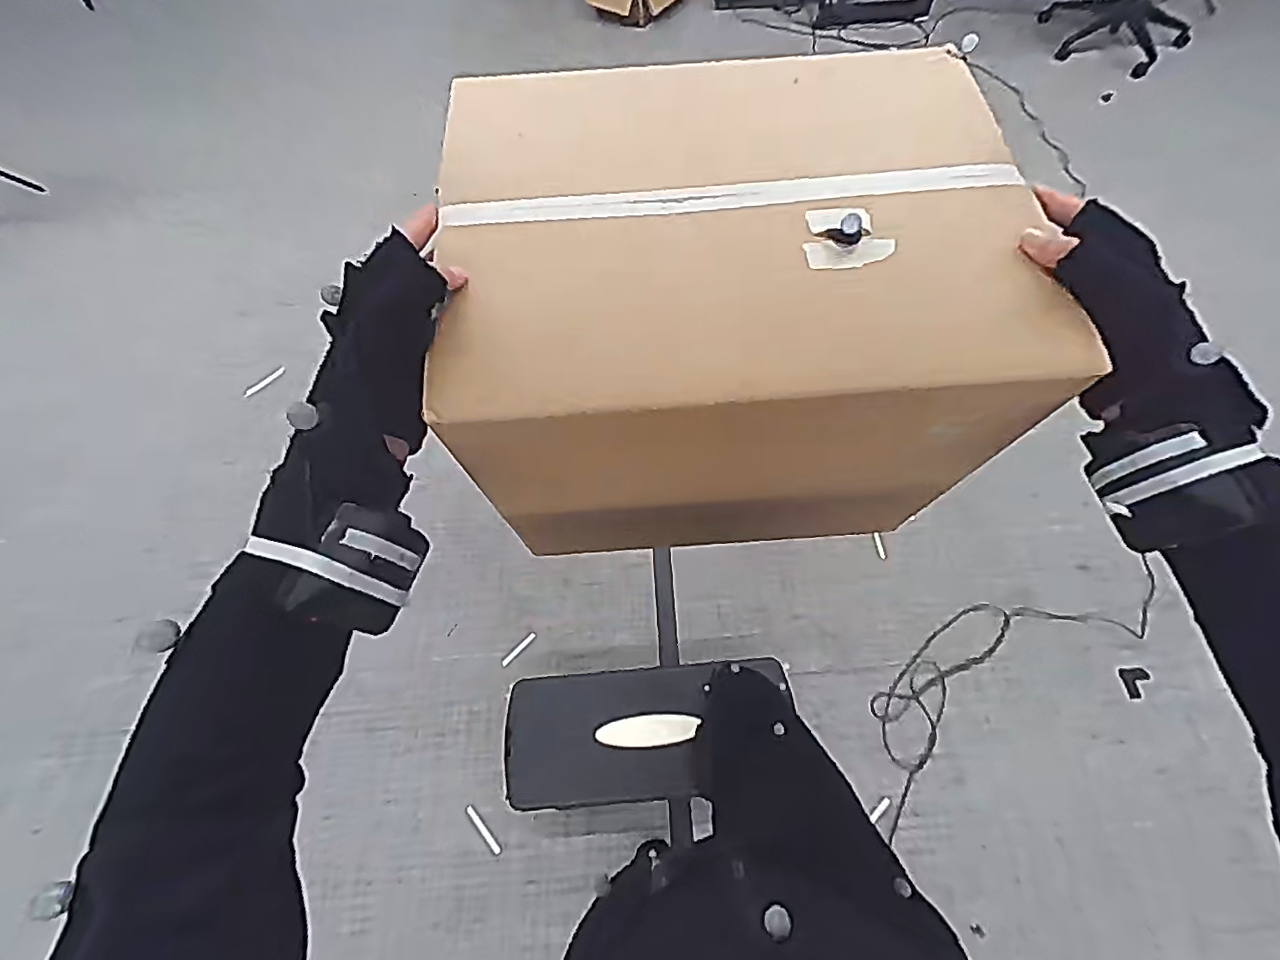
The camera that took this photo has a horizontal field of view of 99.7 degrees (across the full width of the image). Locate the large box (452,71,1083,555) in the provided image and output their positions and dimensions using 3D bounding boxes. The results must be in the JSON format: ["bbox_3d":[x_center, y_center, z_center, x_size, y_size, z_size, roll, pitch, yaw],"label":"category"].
[{"bbox_3d":[0.069,-0.130,0.526,0.408,0.320,0.320,-4,68,-1],"label":"large box"}]
